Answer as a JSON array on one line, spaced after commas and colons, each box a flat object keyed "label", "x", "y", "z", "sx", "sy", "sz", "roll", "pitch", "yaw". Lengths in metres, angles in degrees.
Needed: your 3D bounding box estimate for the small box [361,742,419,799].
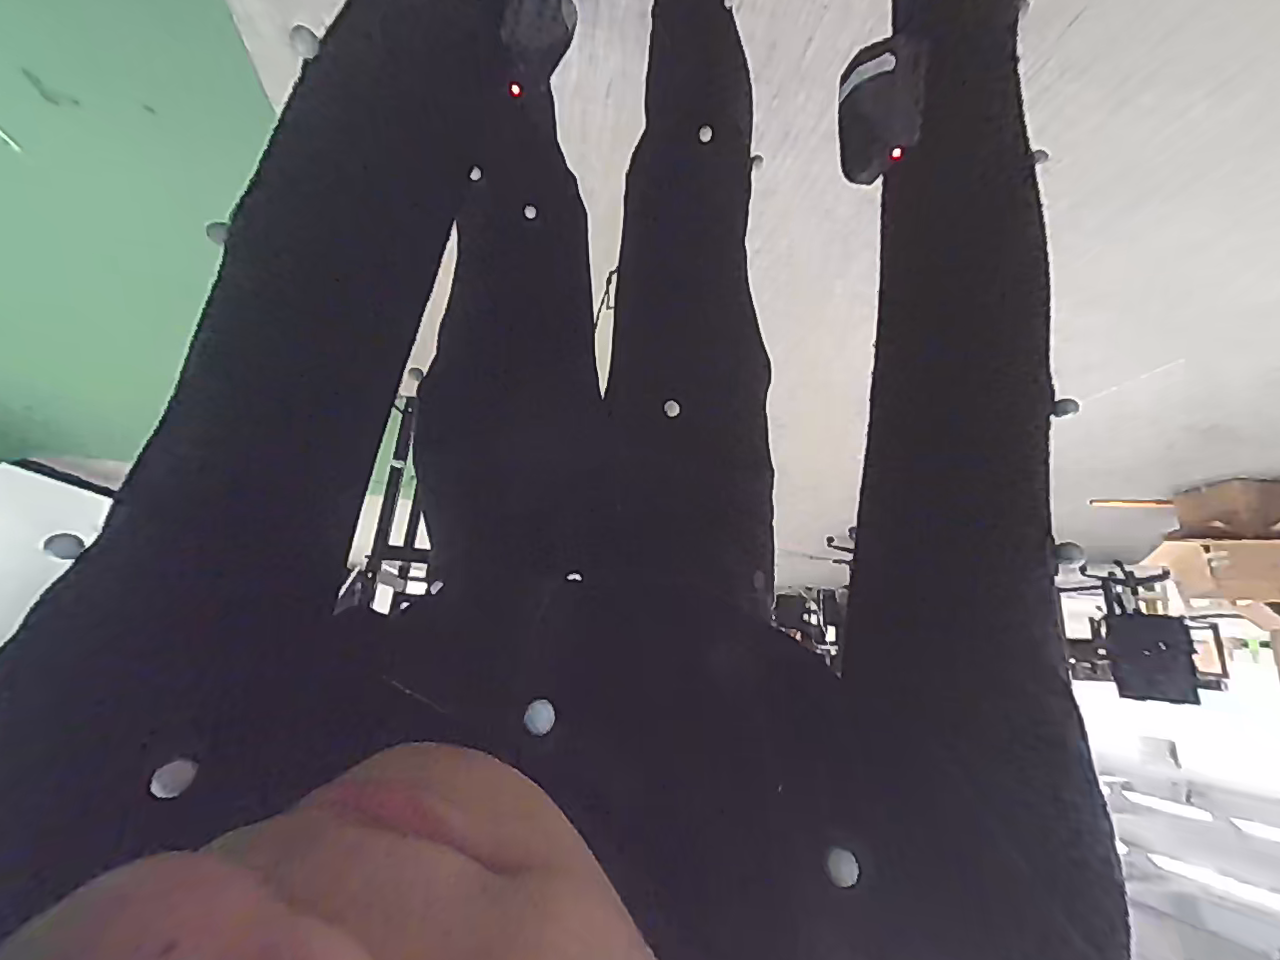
[{"label": "small box", "x": -0.982, "y": 1.146, "z": 2.142, "sx": 0.179, "sy": 0.176, "sz": 0.168, "roll": 9, "pitch": 163, "yaw": -13}]
